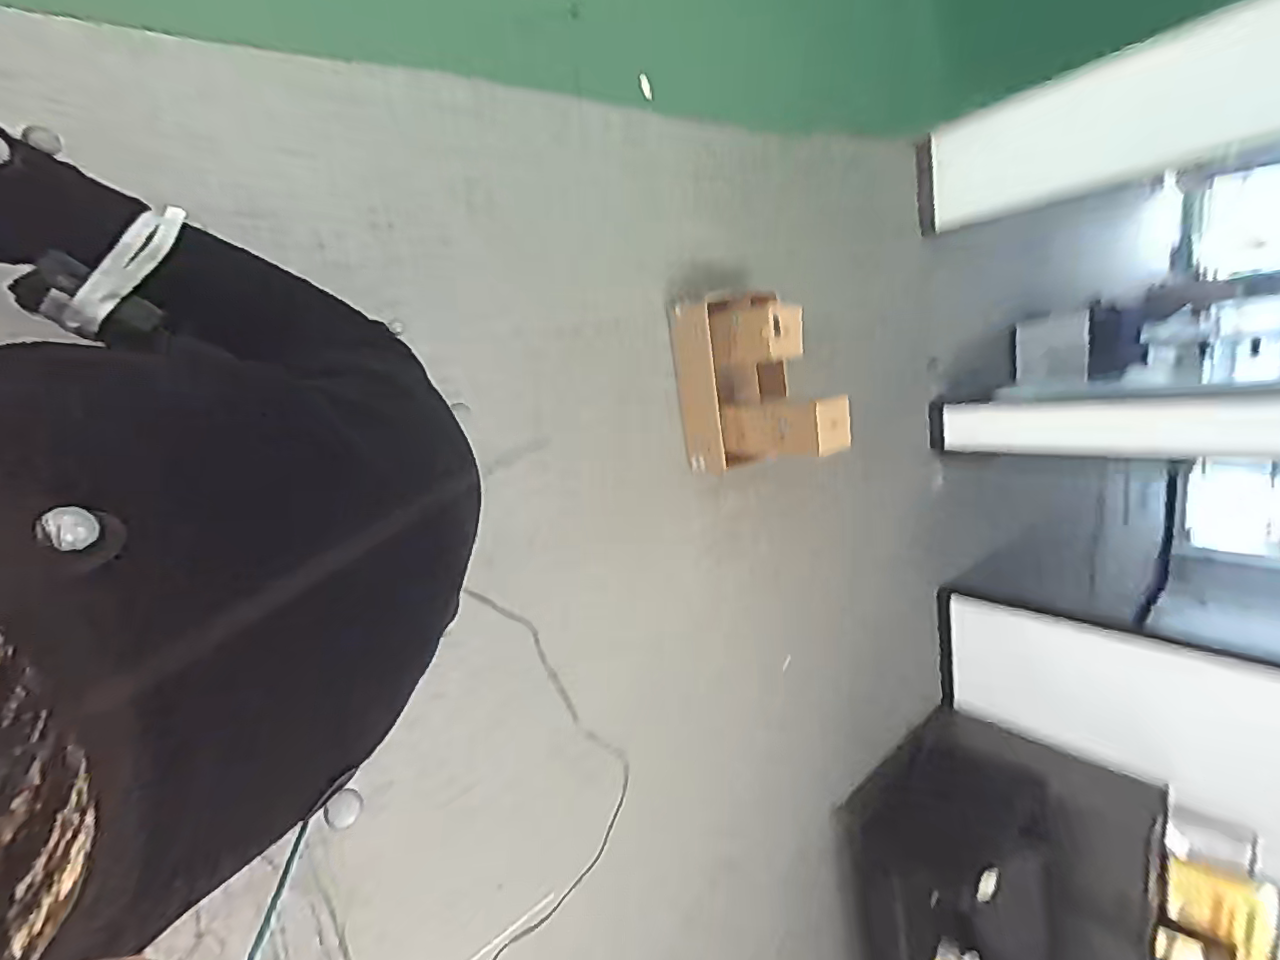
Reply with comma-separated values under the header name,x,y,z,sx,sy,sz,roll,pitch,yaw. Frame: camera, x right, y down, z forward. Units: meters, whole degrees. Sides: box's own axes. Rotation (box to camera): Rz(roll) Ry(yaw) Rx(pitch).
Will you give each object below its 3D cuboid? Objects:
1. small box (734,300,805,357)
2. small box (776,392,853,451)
name,x,y,z,sx,sy,sz,roll,pitch,yaw
small box,0.430,-0.505,1.819,0.179,0.176,0.168,-12,103,-37
small box,0.565,-0.192,1.753,0.179,0.176,0.168,-16,103,-35
